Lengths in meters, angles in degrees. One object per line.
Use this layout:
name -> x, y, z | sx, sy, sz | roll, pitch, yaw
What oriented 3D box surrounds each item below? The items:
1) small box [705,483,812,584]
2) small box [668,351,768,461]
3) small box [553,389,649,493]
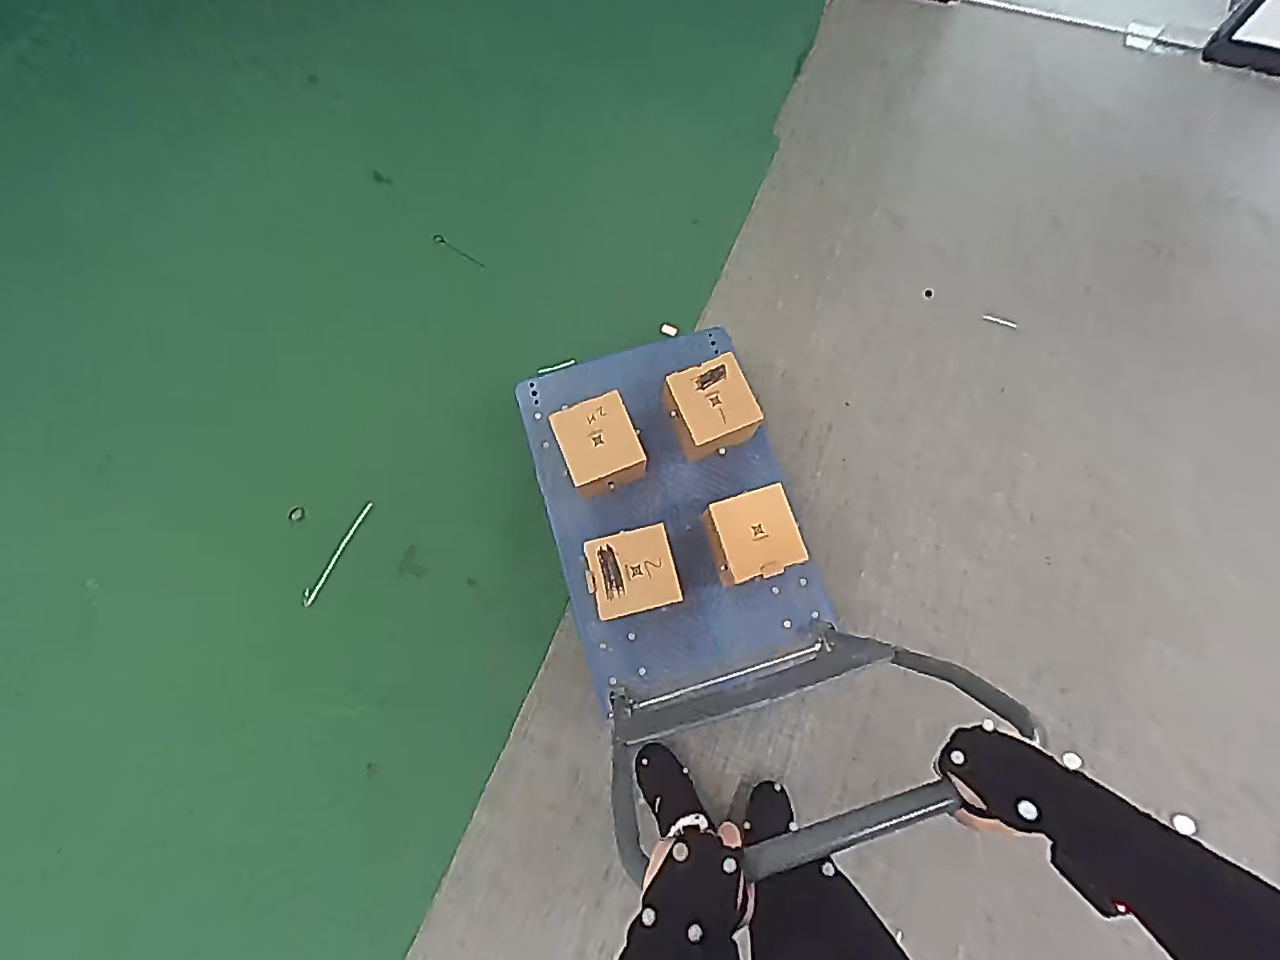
small box -> 0.253, 0.125, 1.204 | 0.168, 0.176, 0.179 | -17, 79, -4
small box -> 0.173, -0.166, 1.263 | 0.168, 0.176, 0.179 | -22, 80, -5
small box -> -0.086, -0.079, 1.239 | 0.168, 0.176, 0.179 | -21, 79, -6
